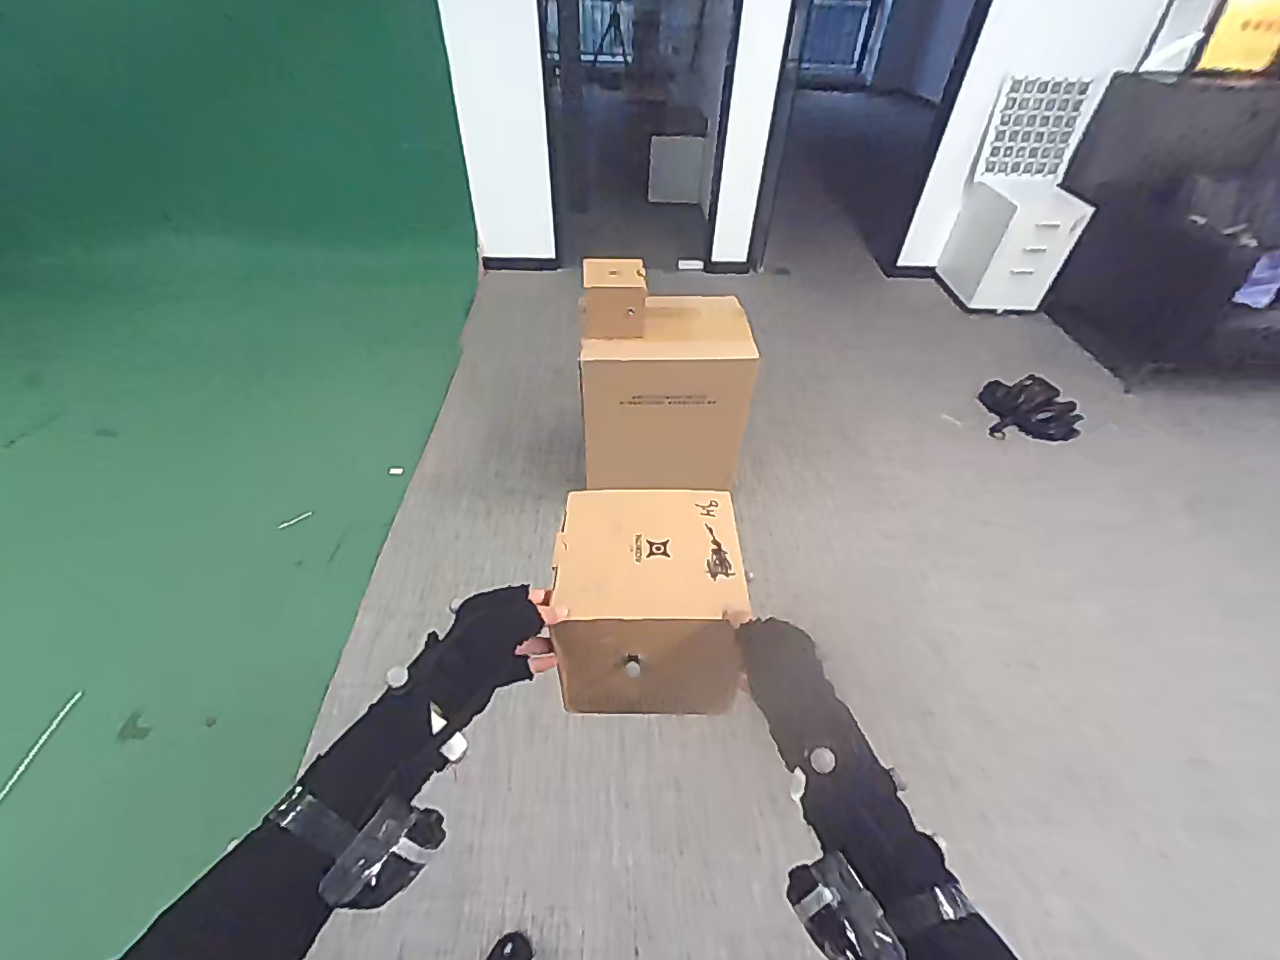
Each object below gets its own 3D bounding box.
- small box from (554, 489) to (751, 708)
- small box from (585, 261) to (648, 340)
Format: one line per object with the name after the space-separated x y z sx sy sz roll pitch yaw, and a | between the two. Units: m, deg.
0.014 0.126 0.577 0.179 0.176 0.168 0 40 1 | small box
-0.074 -0.535 1.615 0.179 0.176 0.168 -3 48 -4 | small box
